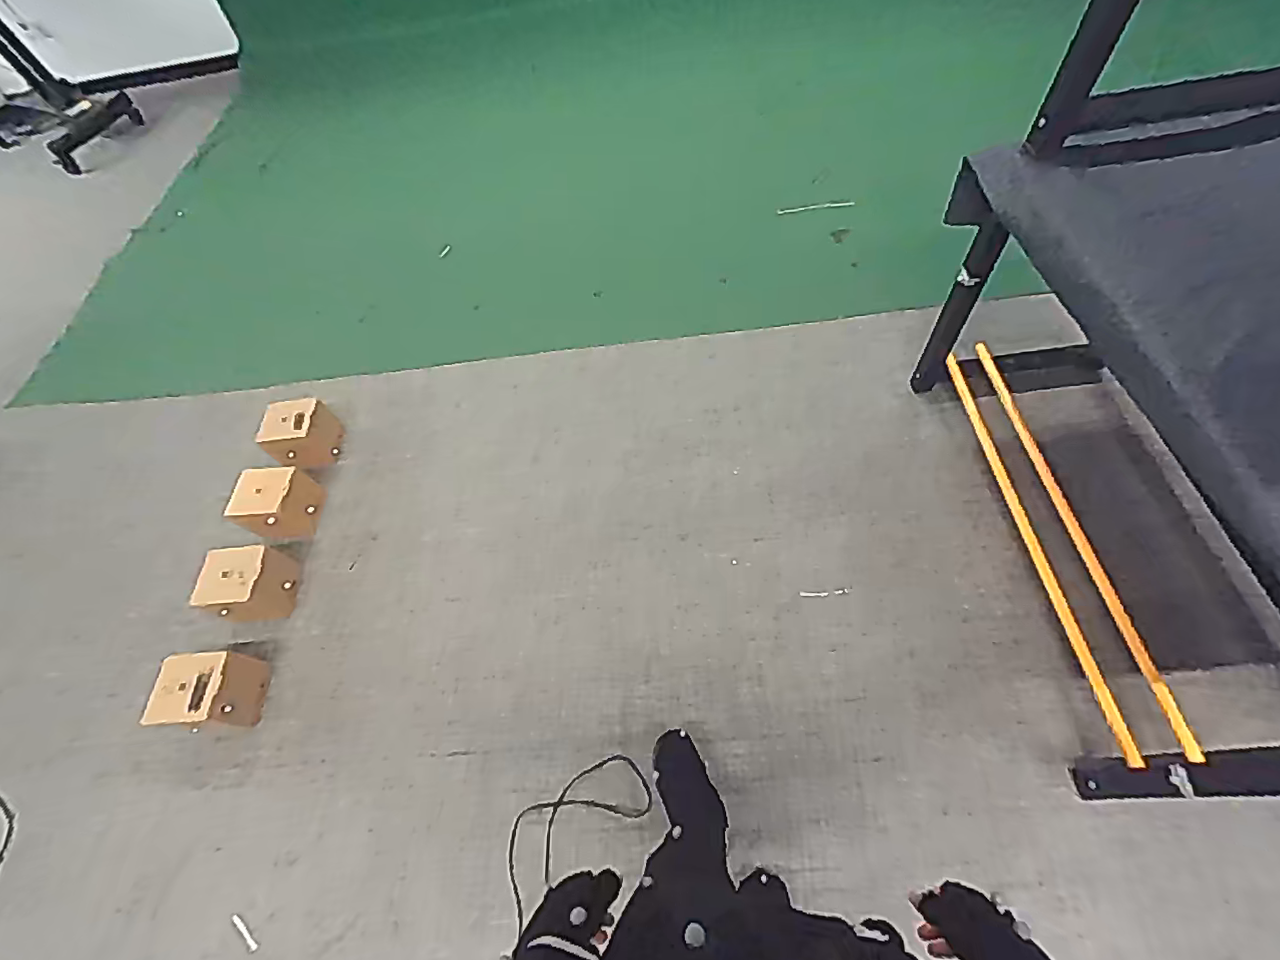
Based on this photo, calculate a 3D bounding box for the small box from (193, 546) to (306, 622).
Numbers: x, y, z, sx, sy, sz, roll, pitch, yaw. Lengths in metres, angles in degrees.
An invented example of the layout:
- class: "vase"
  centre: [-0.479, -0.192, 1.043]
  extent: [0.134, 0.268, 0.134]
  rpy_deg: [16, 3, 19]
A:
- class: "small box"
  centre: [-1.115, 0.303, 1.560]
  extent: [0.179, 0.176, 0.168]
  rpy_deg: [-5, 59, 4]

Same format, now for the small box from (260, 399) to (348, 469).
- class: "small box"
  centre: [-1.135, -0.151, 1.846]
  extent: [0.179, 0.176, 0.168]
  rpy_deg: [-7, 58, 4]

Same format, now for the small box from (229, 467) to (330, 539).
- class: "small box"
  centre: [-1.126, 0.077, 1.704]
  extent: [0.179, 0.176, 0.168]
  rpy_deg: [-4, 58, 5]
